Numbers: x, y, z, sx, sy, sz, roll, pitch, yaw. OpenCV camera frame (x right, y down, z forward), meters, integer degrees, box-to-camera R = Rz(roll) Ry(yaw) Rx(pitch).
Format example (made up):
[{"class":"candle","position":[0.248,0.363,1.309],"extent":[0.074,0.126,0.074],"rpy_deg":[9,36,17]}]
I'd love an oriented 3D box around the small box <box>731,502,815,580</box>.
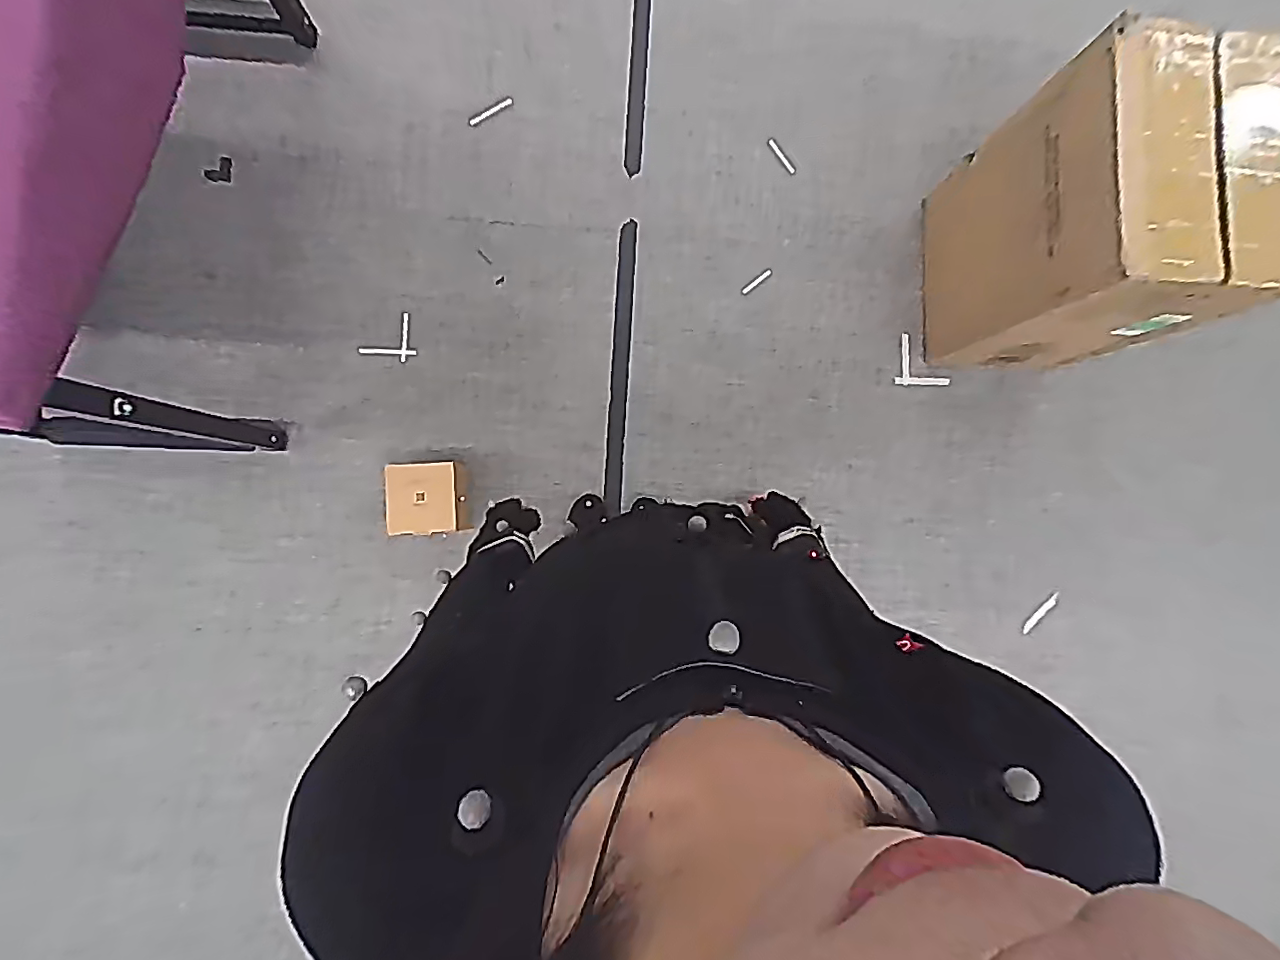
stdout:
[{"class":"small box","position":[0.355,0.160,1.478],"extent":[0.168,0.176,0.179],"rpy_deg":[12,87,-4]}]

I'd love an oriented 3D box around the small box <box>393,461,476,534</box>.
[{"class":"small box","position":[-0.530,0.046,1.413],"extent":[0.168,0.176,0.179],"rpy_deg":[-4,87,-6]}]
